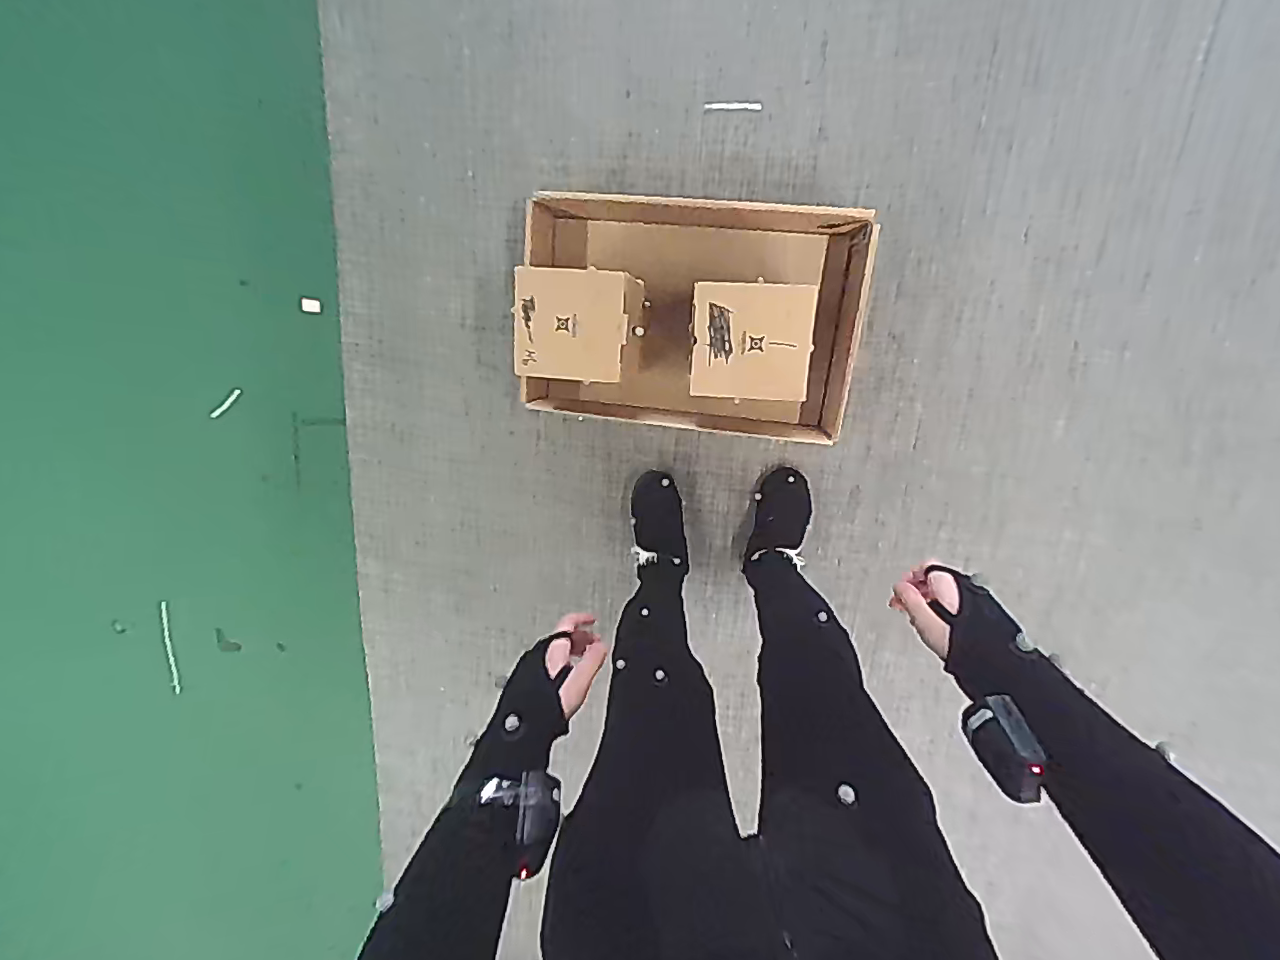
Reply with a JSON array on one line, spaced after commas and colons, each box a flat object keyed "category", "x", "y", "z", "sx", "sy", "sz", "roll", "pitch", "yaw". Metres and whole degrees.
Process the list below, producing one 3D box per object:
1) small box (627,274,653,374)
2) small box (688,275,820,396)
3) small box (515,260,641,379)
[{"category": "small box", "x": -0.072, "y": -0.307, "z": 1.058, "sx": 0.168, "sy": 0.176, "sz": 0.179, "roll": 8, "pitch": 104, "yaw": 7}, {"category": "small box", "x": 0.176, "y": -0.229, "z": 0.864, "sx": 0.179, "sy": 0.176, "sz": 0.168, "roll": 5, "pitch": 106, "yaw": 8}, {"category": "small box", "x": -0.096, "y": -0.264, "z": 0.902, "sx": 0.179, "sy": 0.176, "sz": 0.168, "roll": 6, "pitch": 104, "yaw": 6}]
